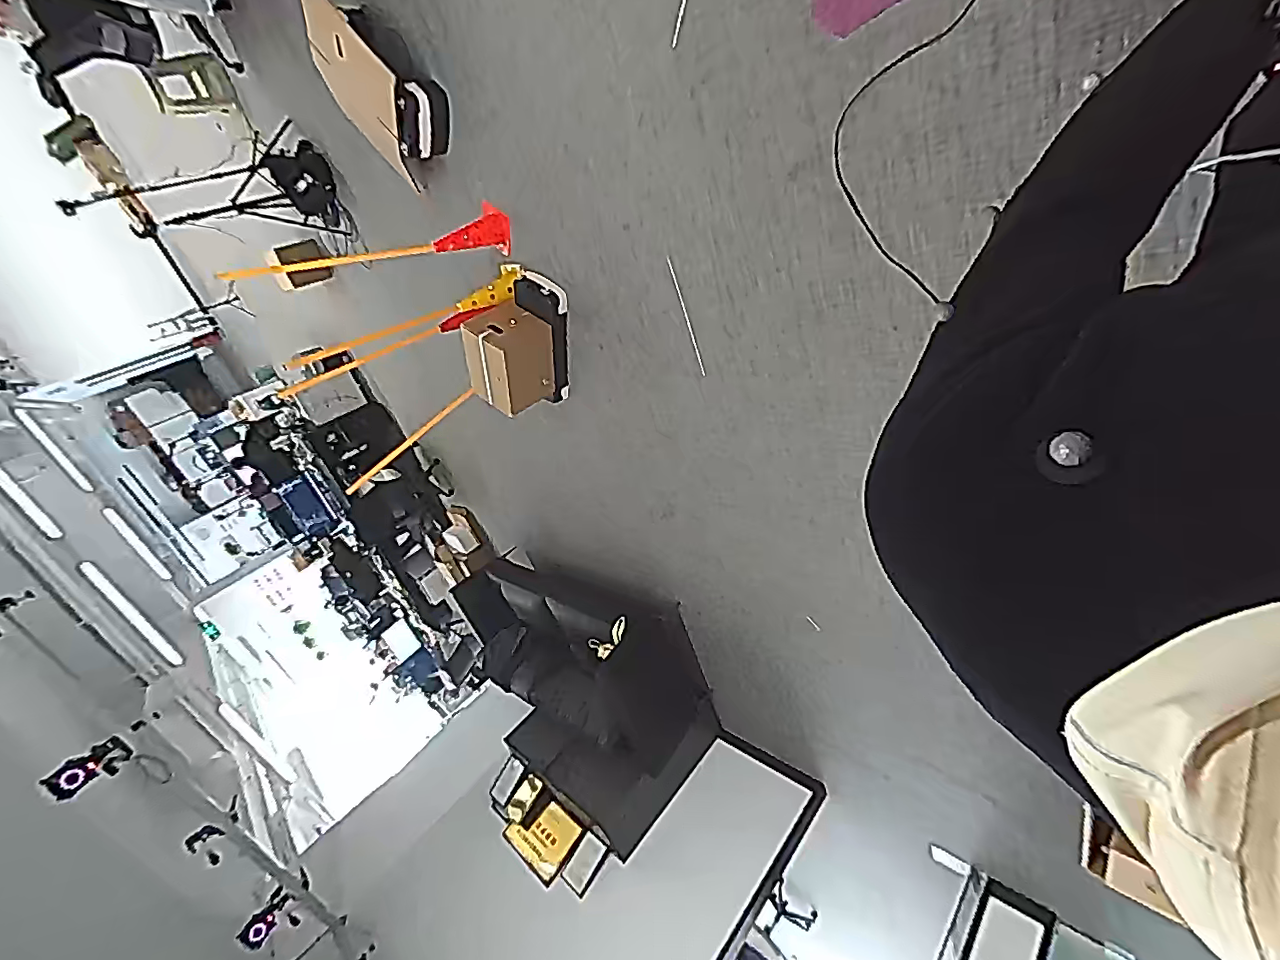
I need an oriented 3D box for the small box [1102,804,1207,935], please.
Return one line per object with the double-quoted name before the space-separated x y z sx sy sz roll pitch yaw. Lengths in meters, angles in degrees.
"small box" 1.305 0.980 1.373 0.168 0.176 0.179 12 128 46
